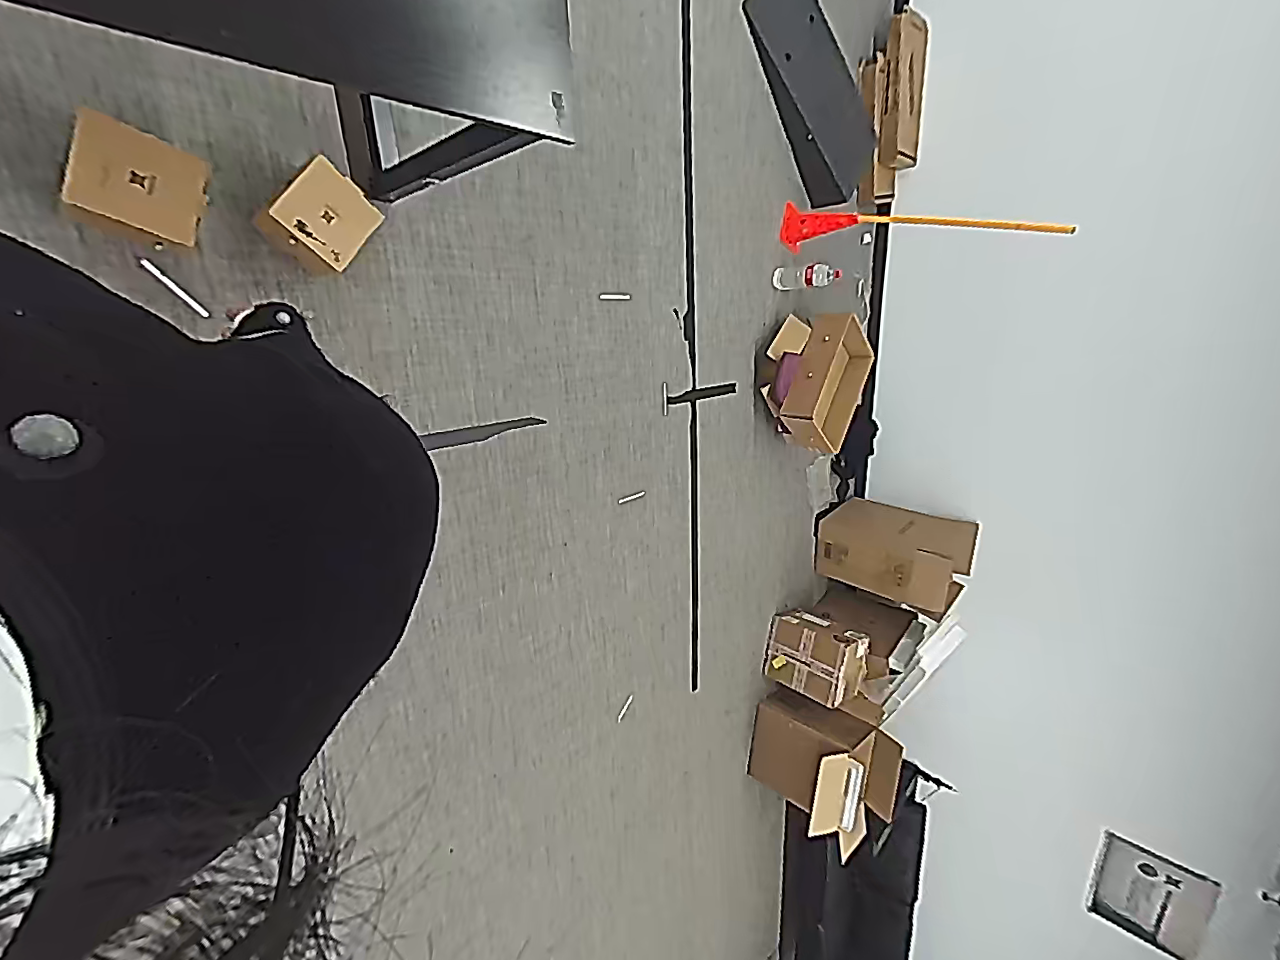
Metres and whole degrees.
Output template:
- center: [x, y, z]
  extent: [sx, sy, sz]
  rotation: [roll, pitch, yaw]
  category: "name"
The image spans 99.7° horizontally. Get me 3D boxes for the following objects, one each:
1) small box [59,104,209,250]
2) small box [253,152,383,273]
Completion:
- center: [-0.940, -0.545, 1.006]
  extent: [0.179, 0.176, 0.168]
  rotation: [11, 92, -47]
  category: "small box"
- center: [-0.728, -0.593, 1.218]
  extent: [0.168, 0.176, 0.179]
  rotation: [43, 69, -44]
  category: "small box"
